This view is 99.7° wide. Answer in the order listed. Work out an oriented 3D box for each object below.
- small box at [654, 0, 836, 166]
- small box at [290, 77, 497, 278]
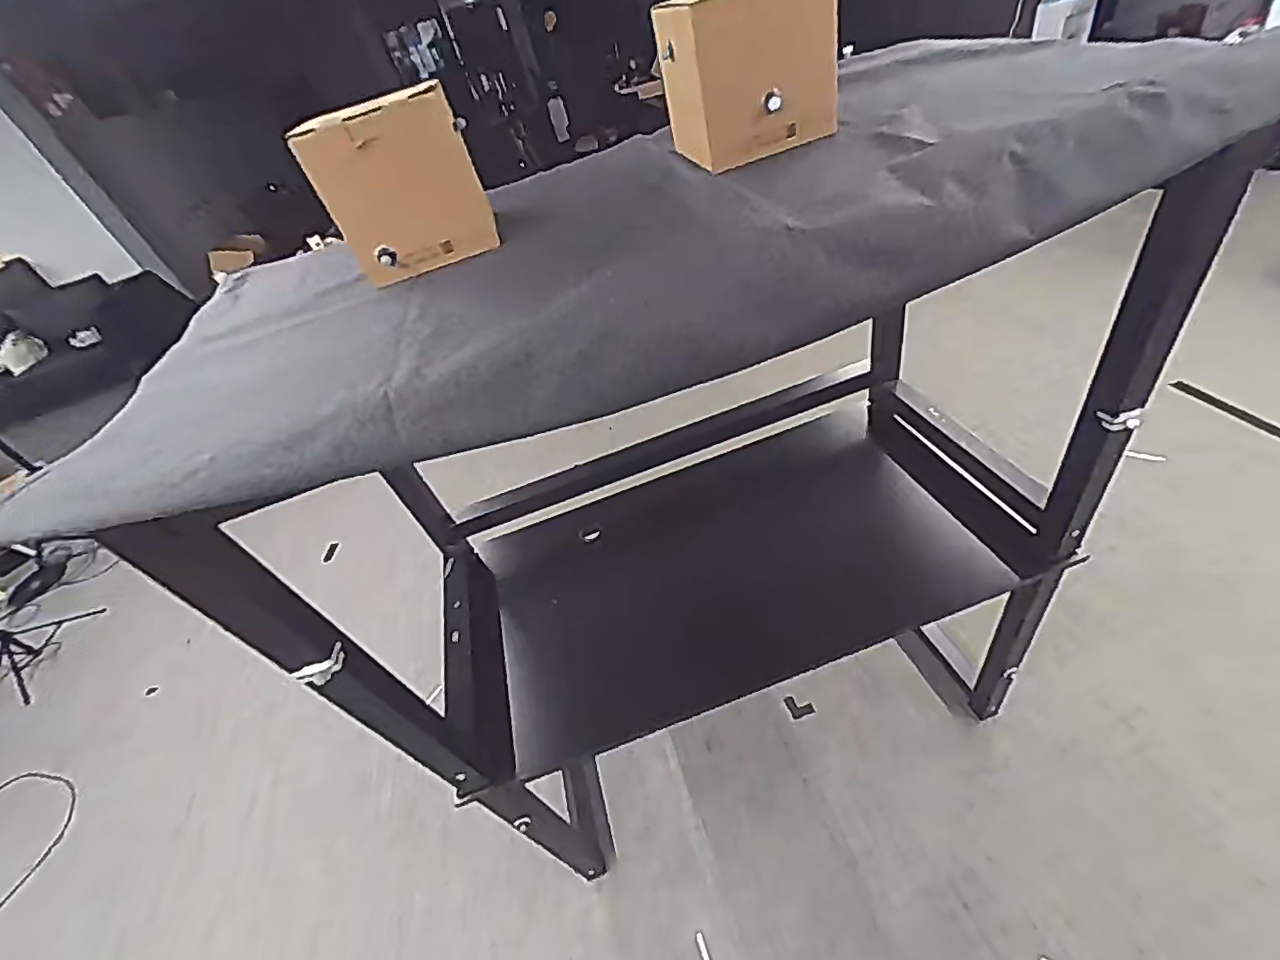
[{"bbox_3d":[0.130,-0.521,0.684,0.168,0.176,0.179,-19,42,0],"label":"small box"},{"bbox_3d":[-0.290,-0.374,0.678,0.168,0.176,0.179,-20,41,-2],"label":"small box"}]
